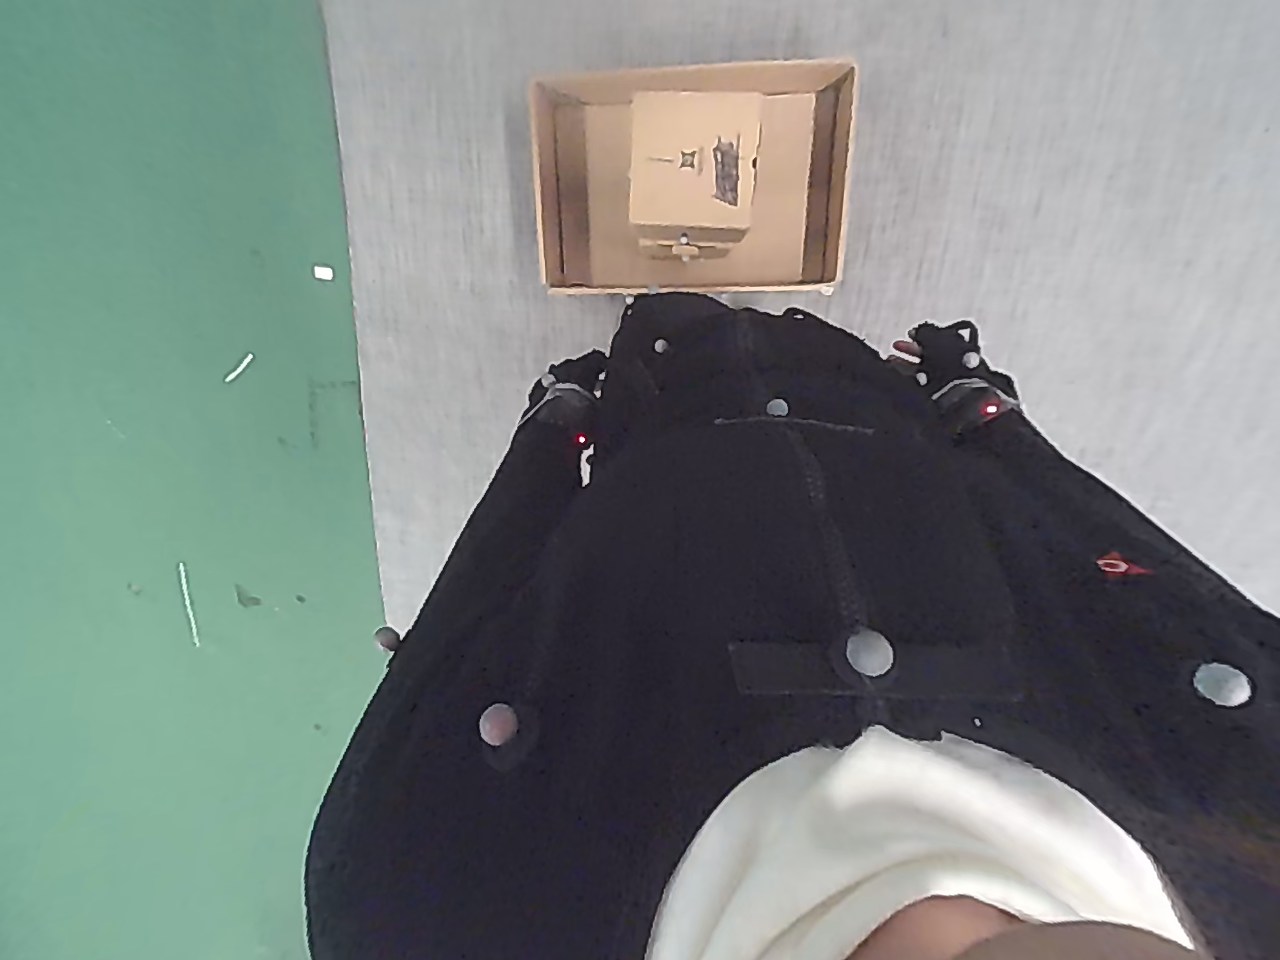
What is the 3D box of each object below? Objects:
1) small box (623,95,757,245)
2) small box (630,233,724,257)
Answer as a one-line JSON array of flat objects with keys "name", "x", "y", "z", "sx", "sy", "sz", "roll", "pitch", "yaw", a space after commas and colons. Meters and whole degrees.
[{"name": "small box", "x": 0.073, "y": -0.465, "z": 0.836, "sx": 0.179, "sy": 0.176, "sz": 0.168, "roll": 5, "pitch": 107, "yaw": 3}, {"name": "small box", "x": 0.076, "y": -0.506, "z": 0.979, "sx": 0.168, "sy": 0.176, "sz": 0.179, "roll": 5, "pitch": 108, "yaw": 3}]
